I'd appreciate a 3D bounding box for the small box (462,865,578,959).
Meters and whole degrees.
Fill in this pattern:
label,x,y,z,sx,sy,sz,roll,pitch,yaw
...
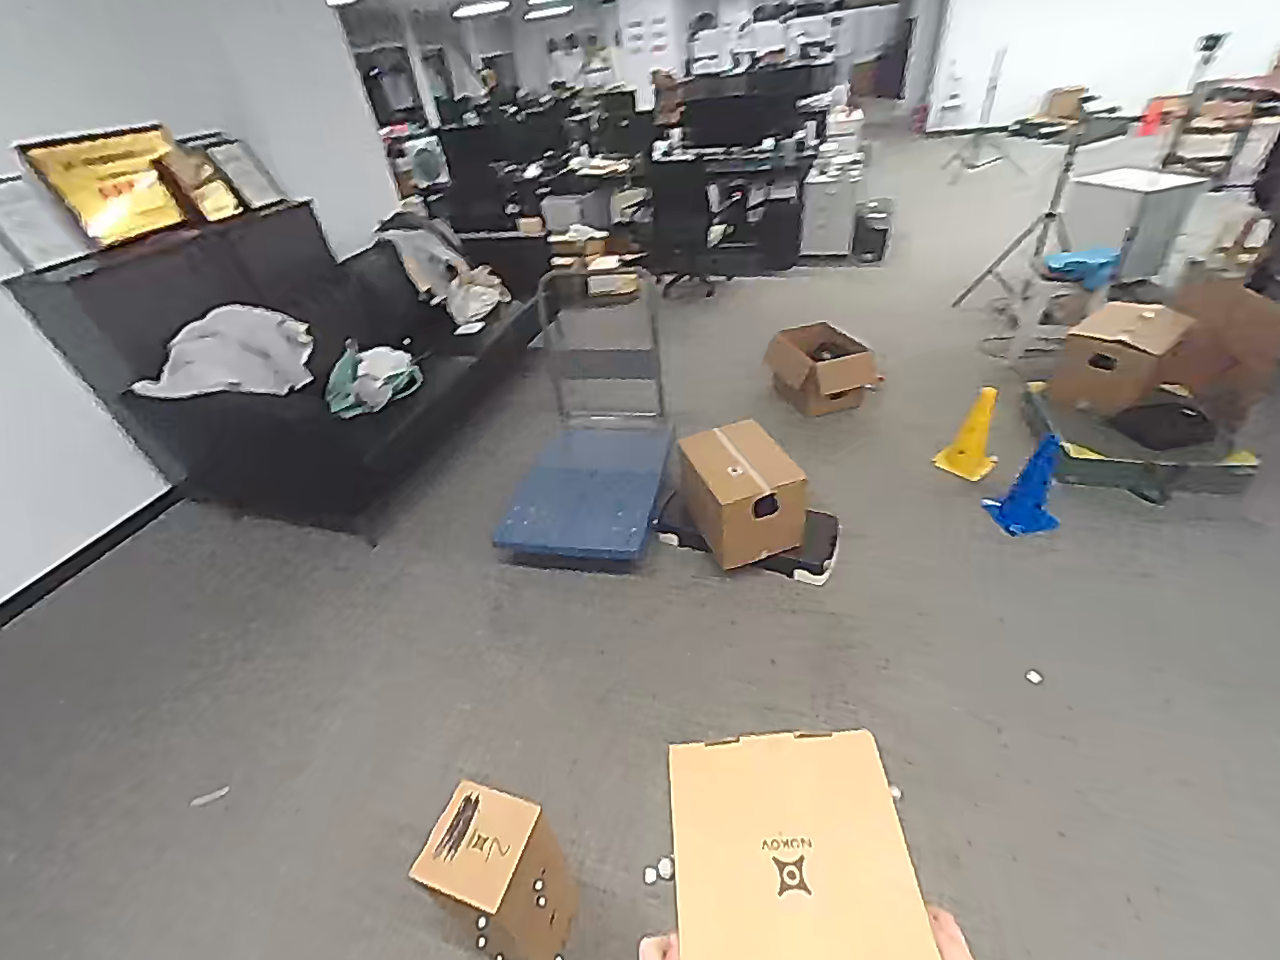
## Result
label,x,y,z,sx,sy,sz,roll,pitch,yaw
small box,-0.254,0.937,1.196,0.179,0.176,0.168,7,41,19

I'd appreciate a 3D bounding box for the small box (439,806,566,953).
label,x,y,z,sx,sy,sz,roll,pitch,yaw
small box,-0.264,0.809,1.094,0.168,0.176,0.179,8,41,18

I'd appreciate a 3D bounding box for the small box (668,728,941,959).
label,x,y,z,sx,sy,sz,roll,pitch,yaw
small box,0.119,0.324,0.435,0.168,0.176,0.179,-8,46,5
